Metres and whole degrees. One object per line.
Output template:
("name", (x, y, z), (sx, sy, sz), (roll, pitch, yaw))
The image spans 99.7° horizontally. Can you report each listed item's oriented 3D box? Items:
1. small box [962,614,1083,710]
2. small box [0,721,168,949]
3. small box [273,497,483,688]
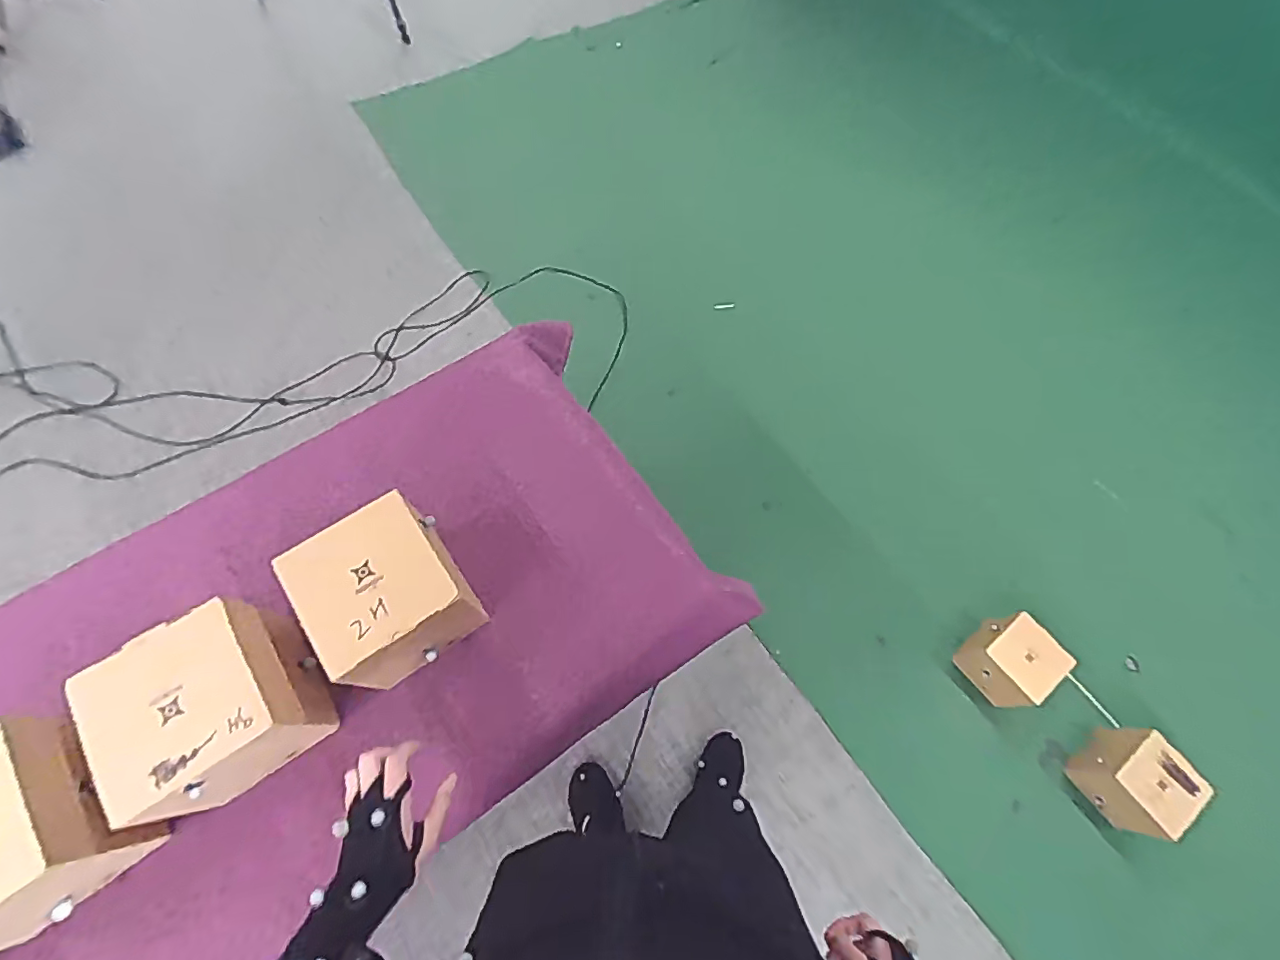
("small box", (0.996, 0.488, 1.431), (0.179, 0.176, 0.168), (-34, 71, -17))
("small box", (-0.694, 0.398, 0.603), (0.168, 0.176, 0.179), (-35, 73, -16))
("small box", (-0.337, 0.158, 0.726), (0.168, 0.176, 0.179), (-33, 72, -15))
